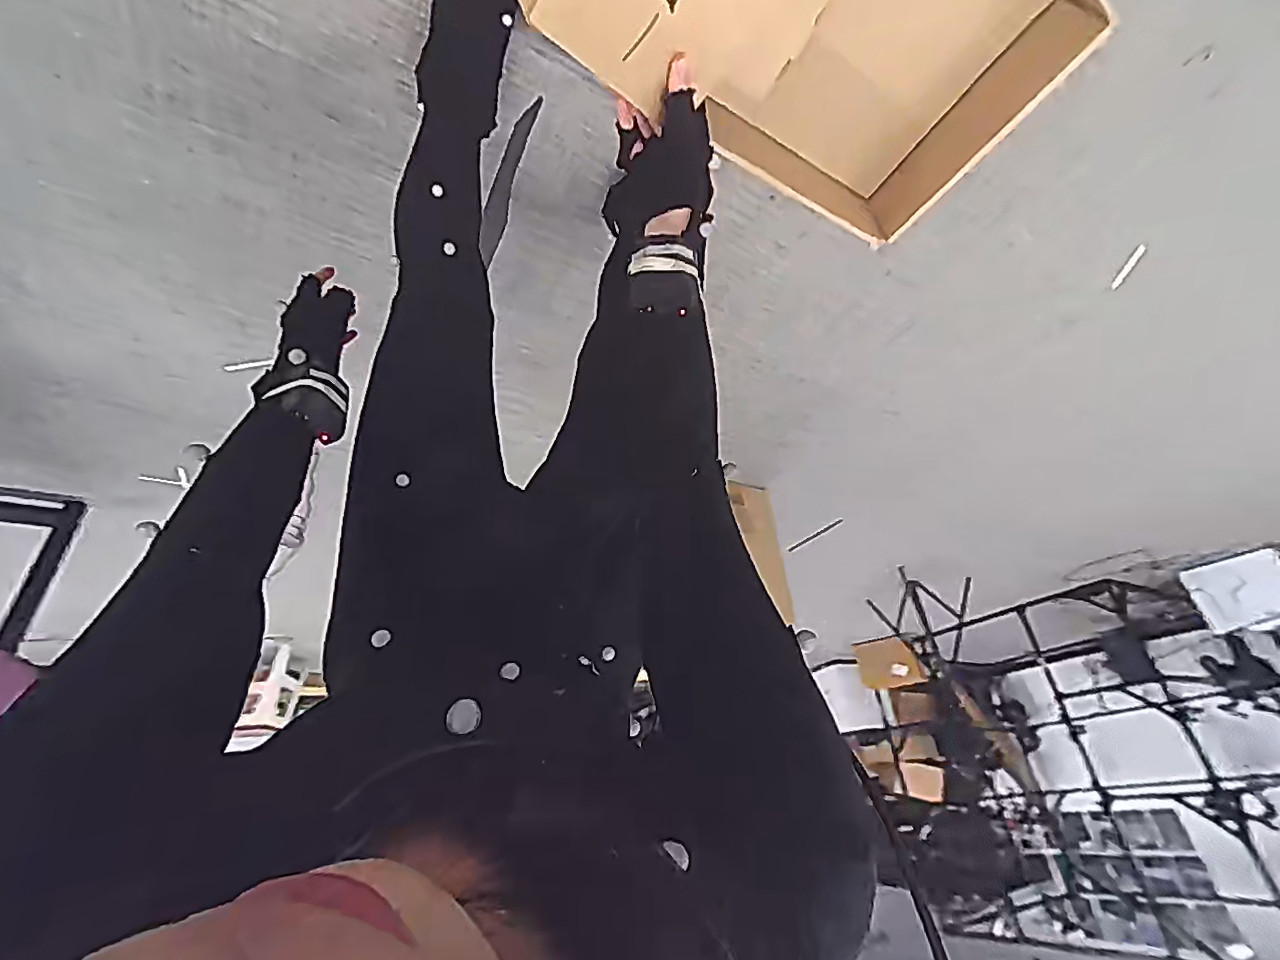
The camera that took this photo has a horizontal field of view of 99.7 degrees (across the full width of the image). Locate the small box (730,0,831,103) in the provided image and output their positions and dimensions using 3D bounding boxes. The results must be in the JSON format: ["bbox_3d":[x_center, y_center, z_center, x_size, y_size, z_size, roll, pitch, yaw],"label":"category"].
[{"bbox_3d":[0.124,-0.641,0.687,0.179,0.176,0.168,12,143,-29],"label":"small box"}]

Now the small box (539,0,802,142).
[{"bbox_3d":[0.013,-0.432,0.426,0.168,0.176,0.179,7,147,-47],"label":"small box"}]
